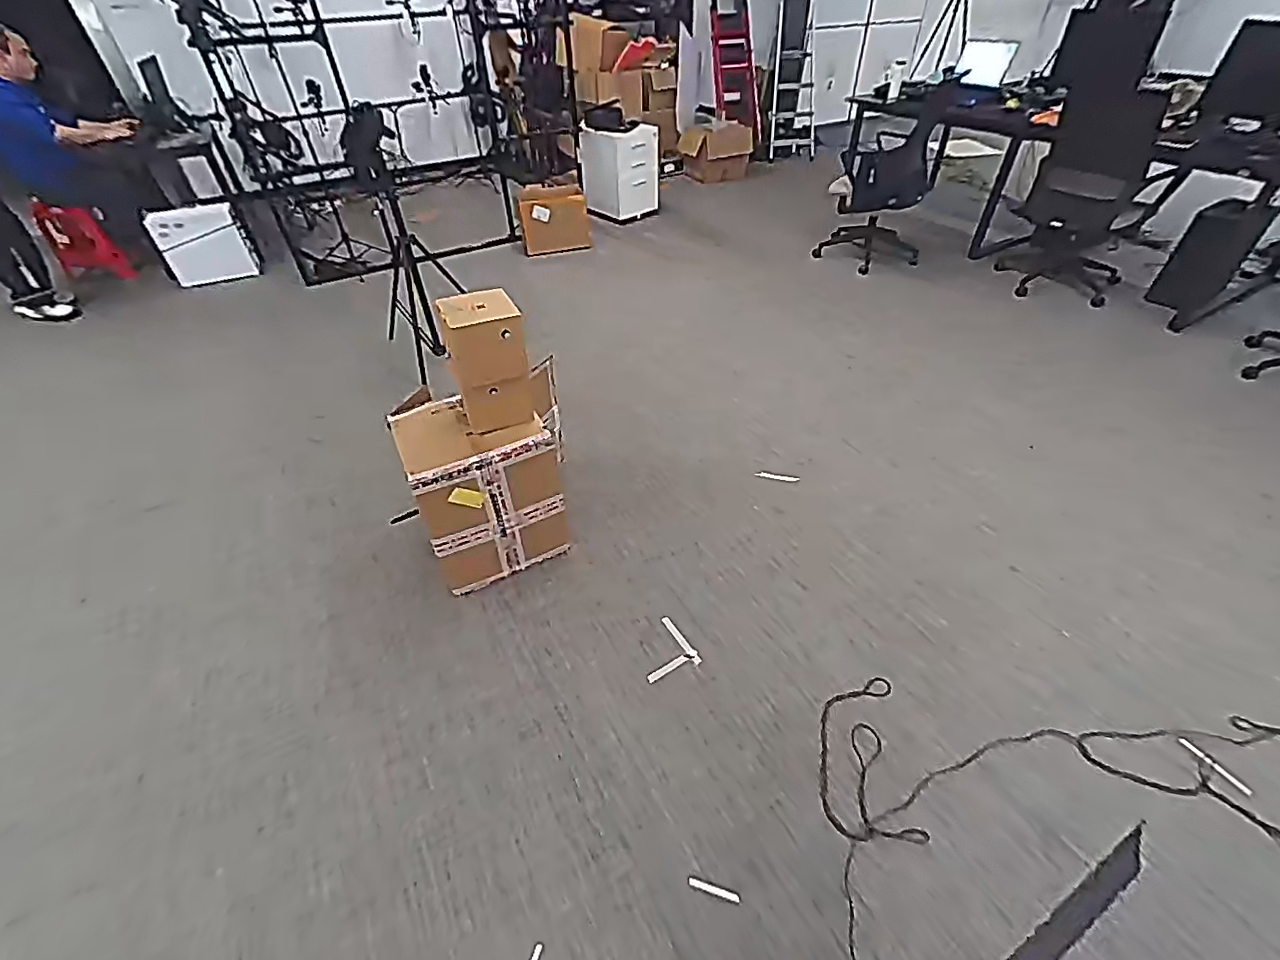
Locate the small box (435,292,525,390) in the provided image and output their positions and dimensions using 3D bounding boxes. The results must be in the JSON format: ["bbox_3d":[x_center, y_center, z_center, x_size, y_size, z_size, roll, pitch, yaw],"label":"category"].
[{"bbox_3d":[-0.402,-0.353,1.377,0.179,0.176,0.168,-19,47,-20],"label":"small box"}]

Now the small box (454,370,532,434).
[{"bbox_3d":[-0.412,-0.249,1.507,0.179,0.176,0.168,-16,46,-18],"label":"small box"}]
